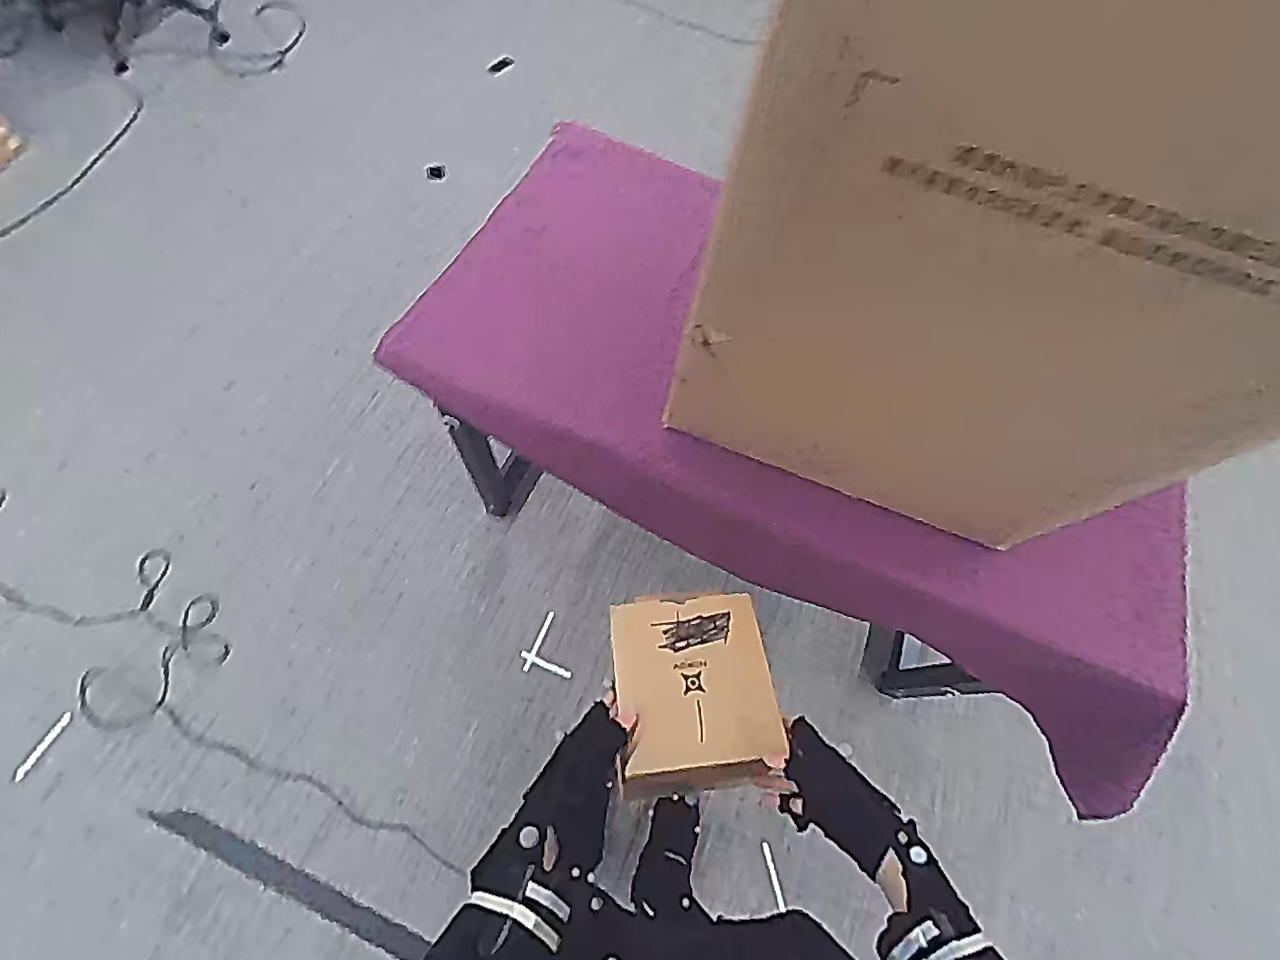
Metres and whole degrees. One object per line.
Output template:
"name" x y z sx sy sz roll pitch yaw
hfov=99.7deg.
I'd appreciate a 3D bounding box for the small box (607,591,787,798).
"small box" 0.049 0.250 0.628 0.168 0.176 0.179 -4 52 -6
